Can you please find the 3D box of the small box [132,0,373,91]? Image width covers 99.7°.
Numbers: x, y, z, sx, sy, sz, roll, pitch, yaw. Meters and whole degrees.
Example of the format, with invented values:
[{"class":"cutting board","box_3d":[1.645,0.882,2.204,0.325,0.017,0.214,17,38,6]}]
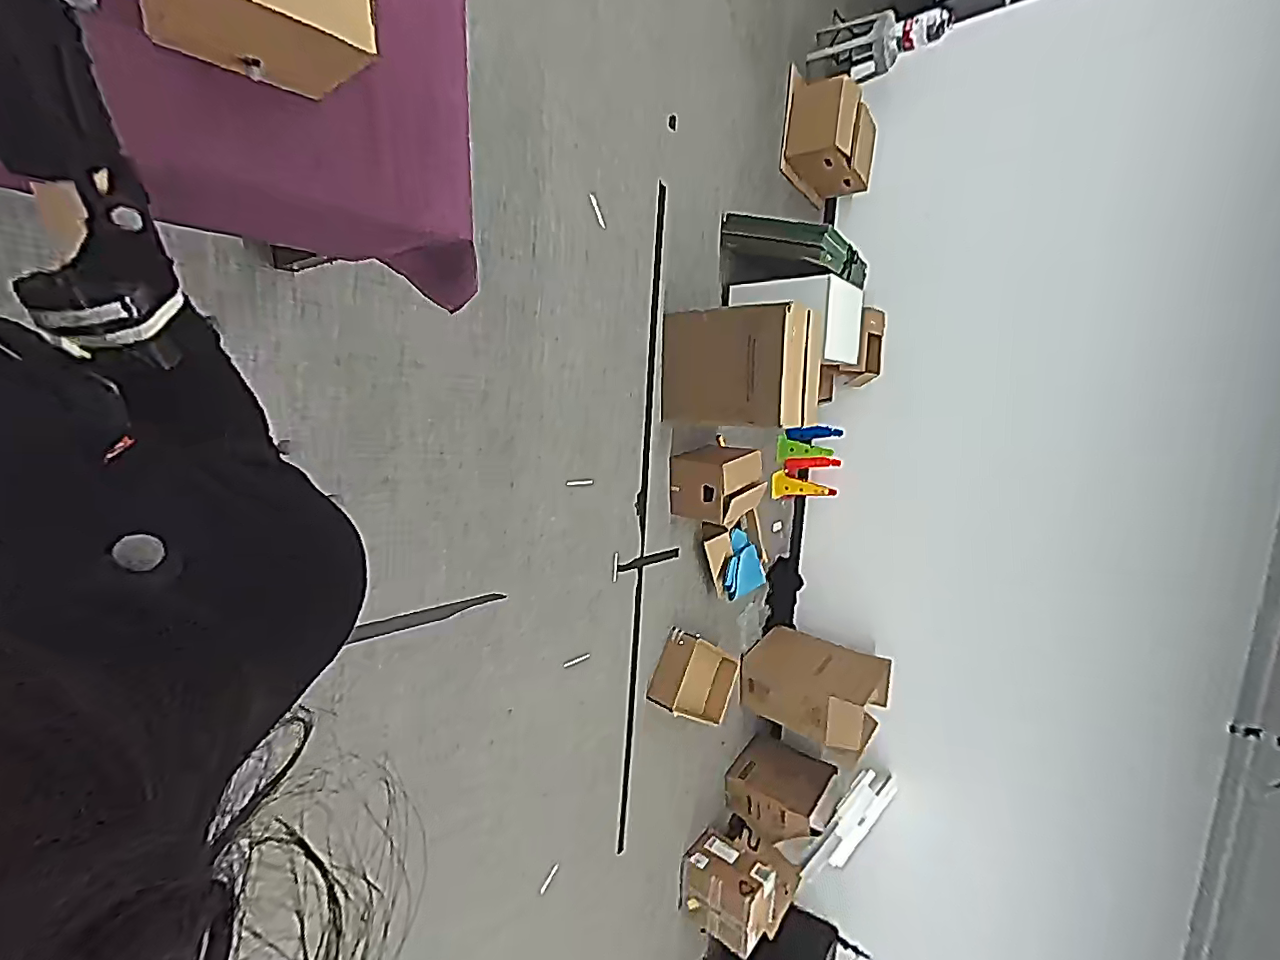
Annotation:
[{"class":"small box","box_3d":[-0.420,-0.558,0.584,0.179,0.176,0.168,-14,108,-51]}]
